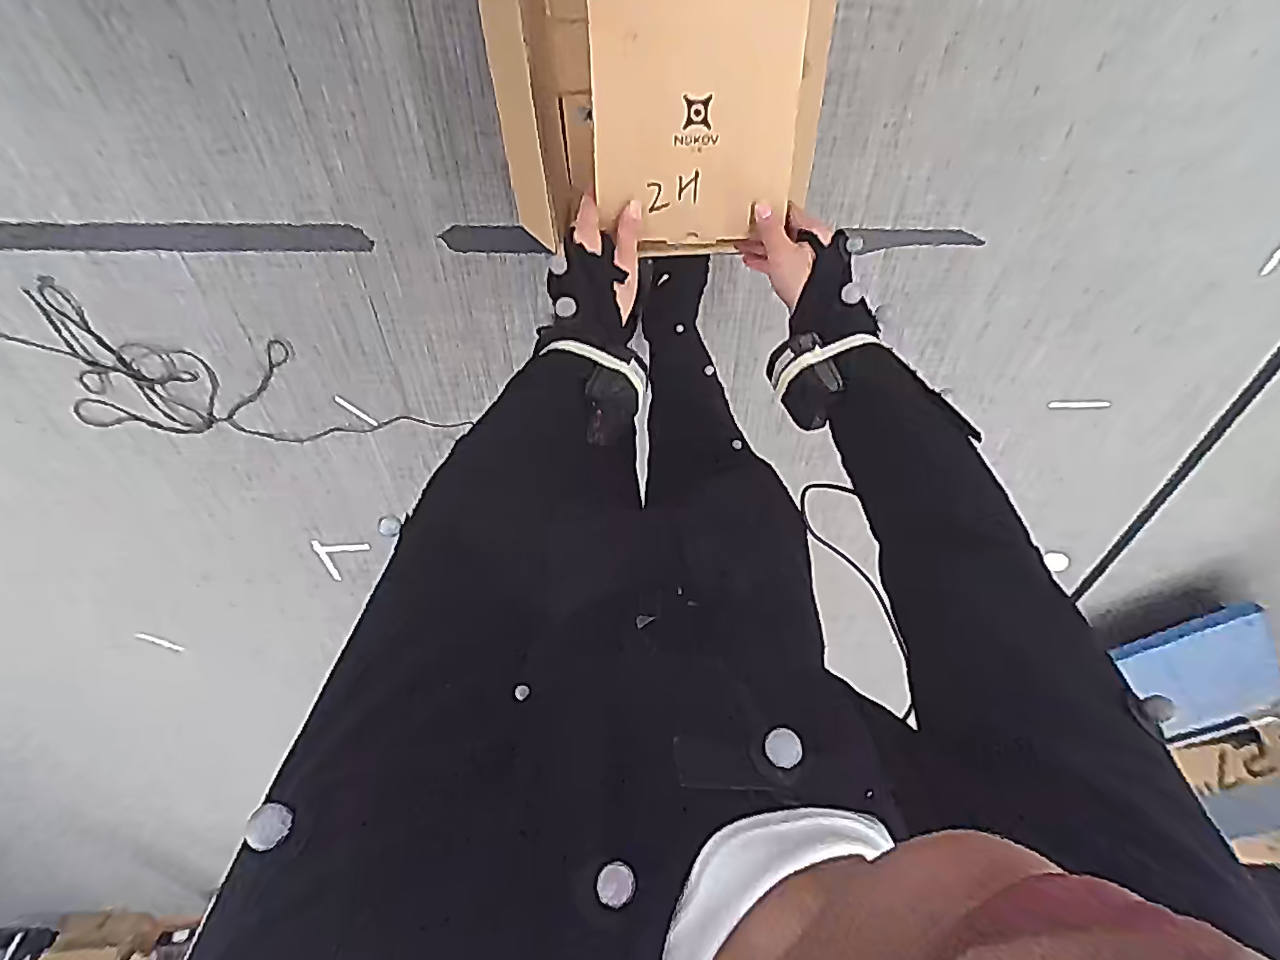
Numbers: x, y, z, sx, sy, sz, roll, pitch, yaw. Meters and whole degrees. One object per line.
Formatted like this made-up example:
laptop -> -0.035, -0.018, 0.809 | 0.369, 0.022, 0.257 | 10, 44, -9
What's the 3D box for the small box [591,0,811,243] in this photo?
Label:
small box -> 0.040, -0.321, 0.497 | 0.168, 0.176, 0.179 | -2, 120, -2
